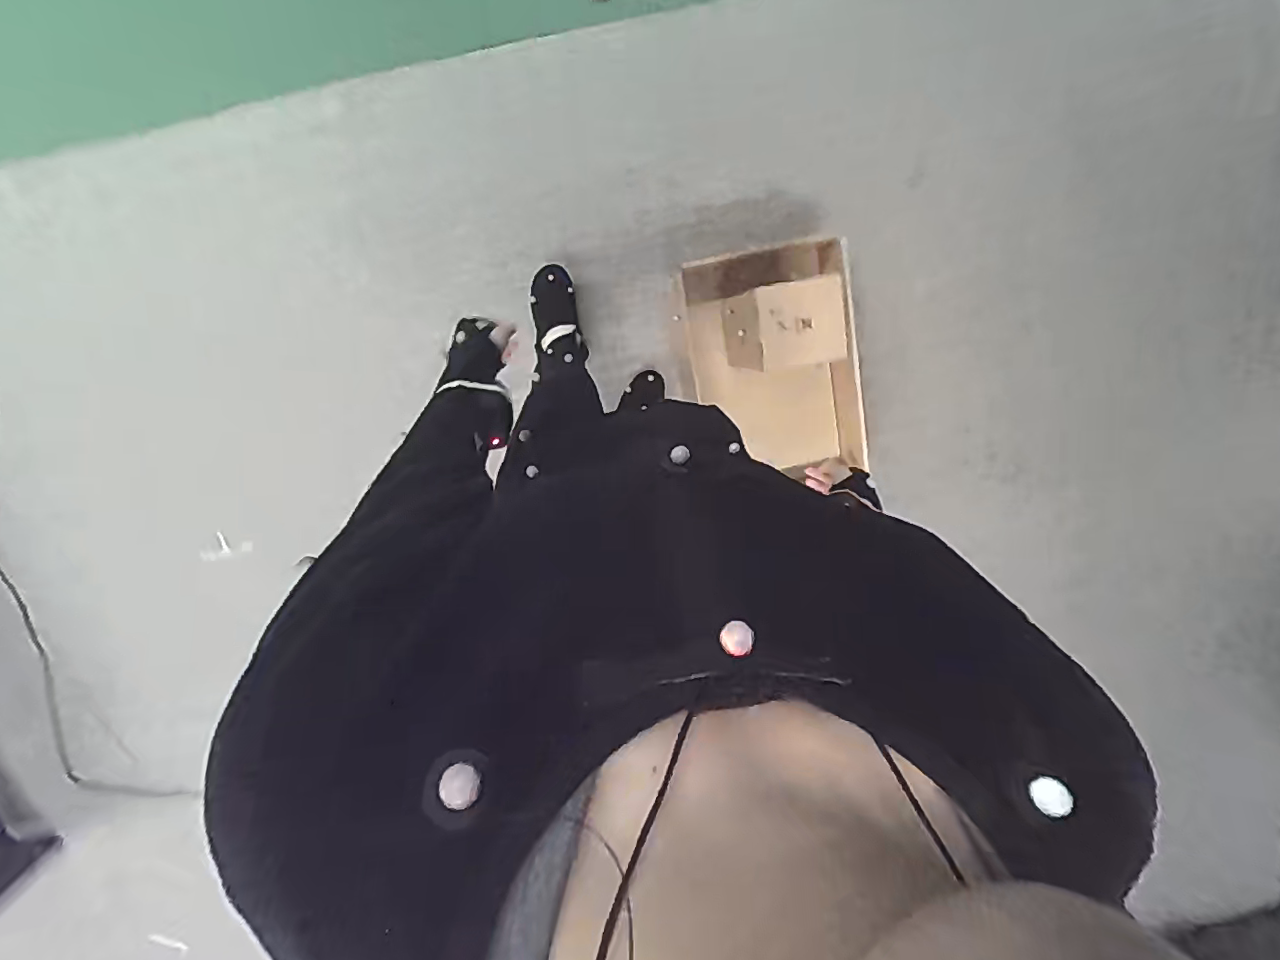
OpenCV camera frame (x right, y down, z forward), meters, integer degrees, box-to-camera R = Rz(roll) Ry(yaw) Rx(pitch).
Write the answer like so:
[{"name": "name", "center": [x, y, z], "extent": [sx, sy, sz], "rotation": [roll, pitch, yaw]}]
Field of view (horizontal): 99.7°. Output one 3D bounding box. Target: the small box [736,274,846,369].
[{"name": "small box", "center": [0.314, -0.331, 1.142], "extent": [0.179, 0.176, 0.168], "rotation": [-8, 103, 0]}]
